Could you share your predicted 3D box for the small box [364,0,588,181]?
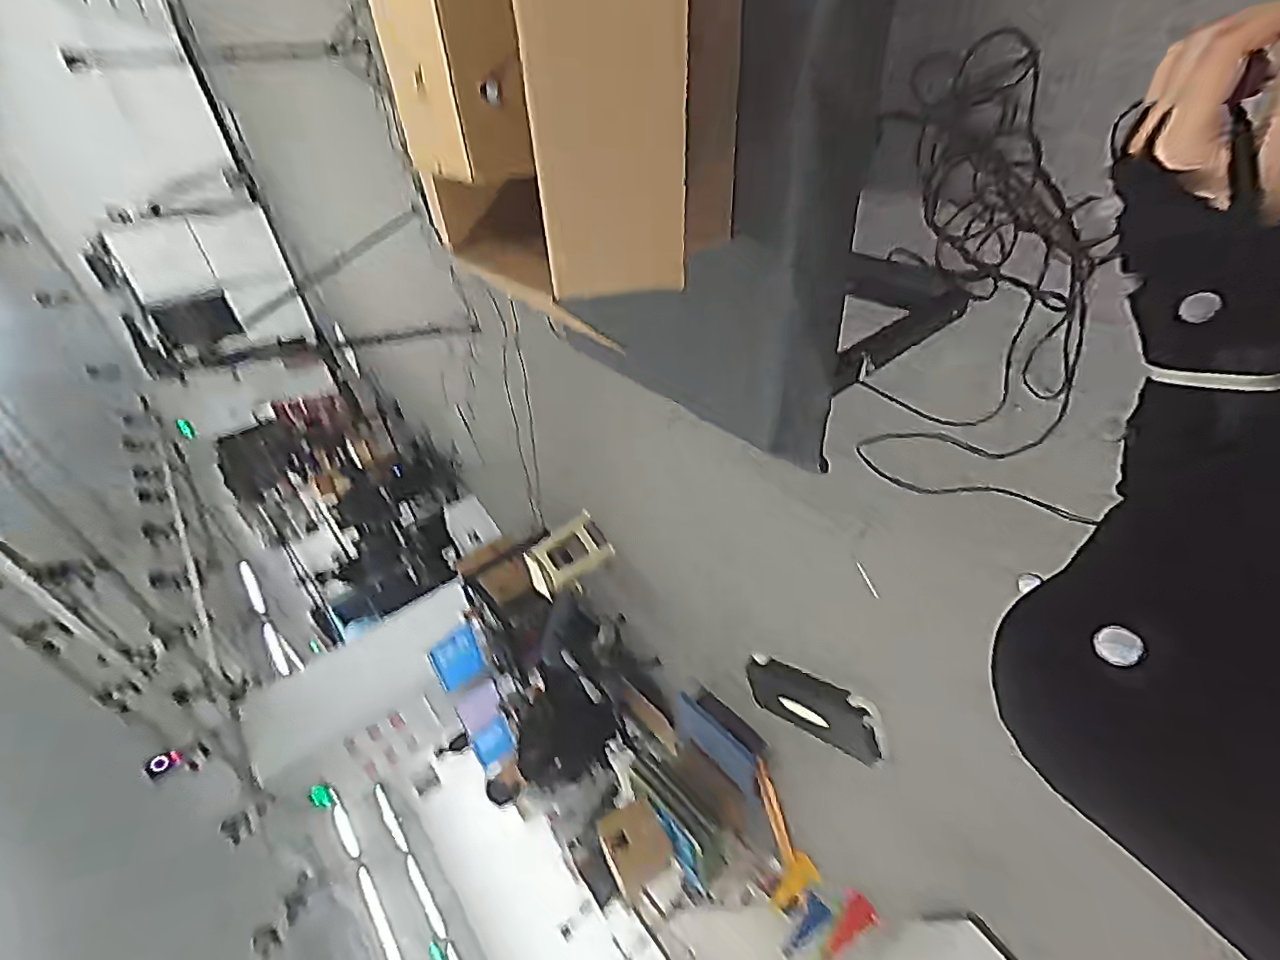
[{"bbox_3d":[-0.177,-0.460,0.617,0.168,0.176,0.179,34,142,38],"label":"small box"}]
